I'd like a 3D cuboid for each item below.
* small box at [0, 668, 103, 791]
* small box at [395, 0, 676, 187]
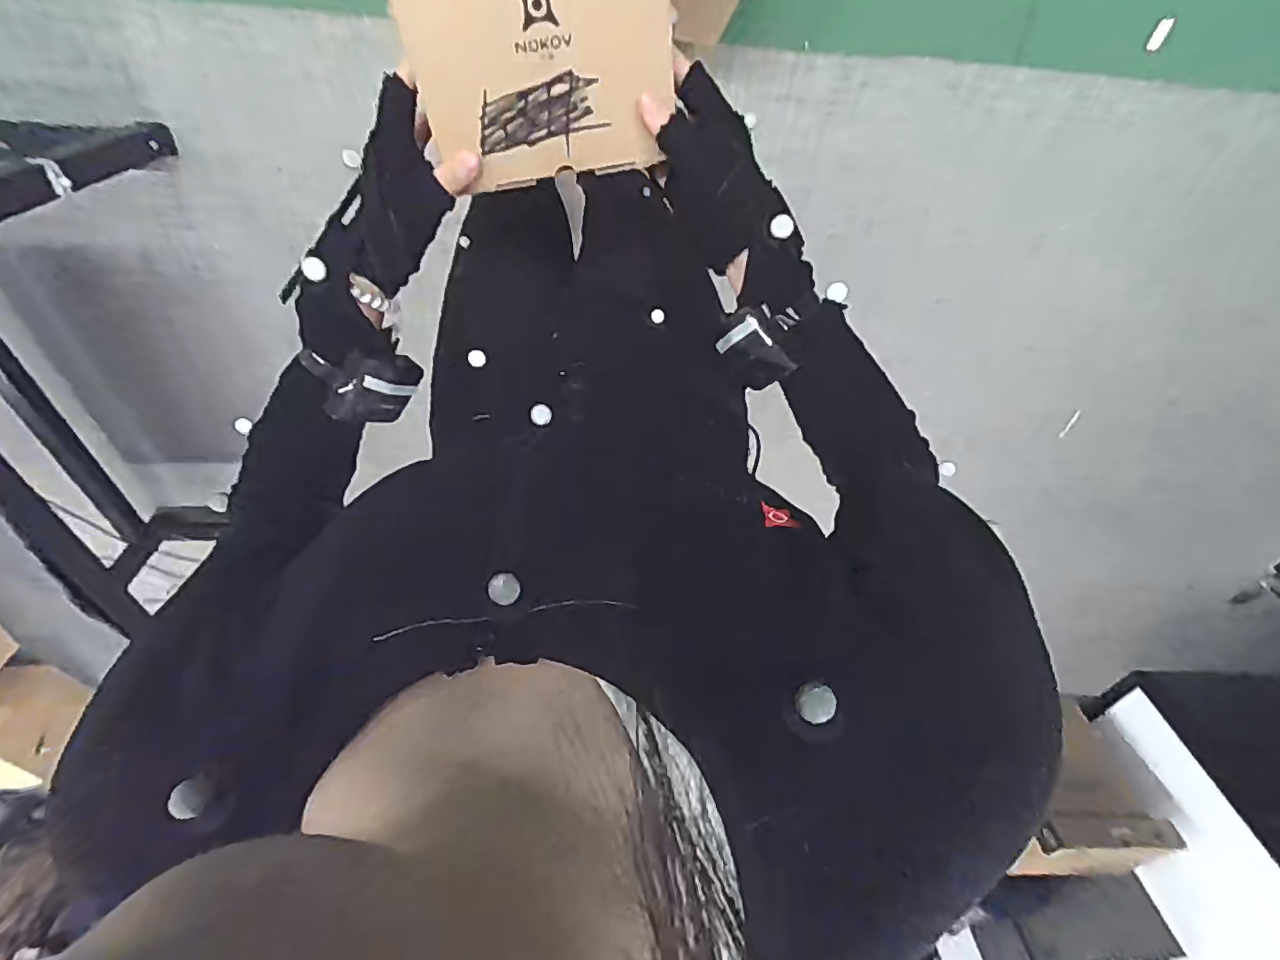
[{"bbox_3d":[-1.220,0.476,1.038,0.168,0.176,0.179,-3,132,-2],"label":"small box"},{"bbox_3d":[-0.073,-0.338,0.379,0.168,0.176,0.179,-11,138,-3],"label":"small box"}]
